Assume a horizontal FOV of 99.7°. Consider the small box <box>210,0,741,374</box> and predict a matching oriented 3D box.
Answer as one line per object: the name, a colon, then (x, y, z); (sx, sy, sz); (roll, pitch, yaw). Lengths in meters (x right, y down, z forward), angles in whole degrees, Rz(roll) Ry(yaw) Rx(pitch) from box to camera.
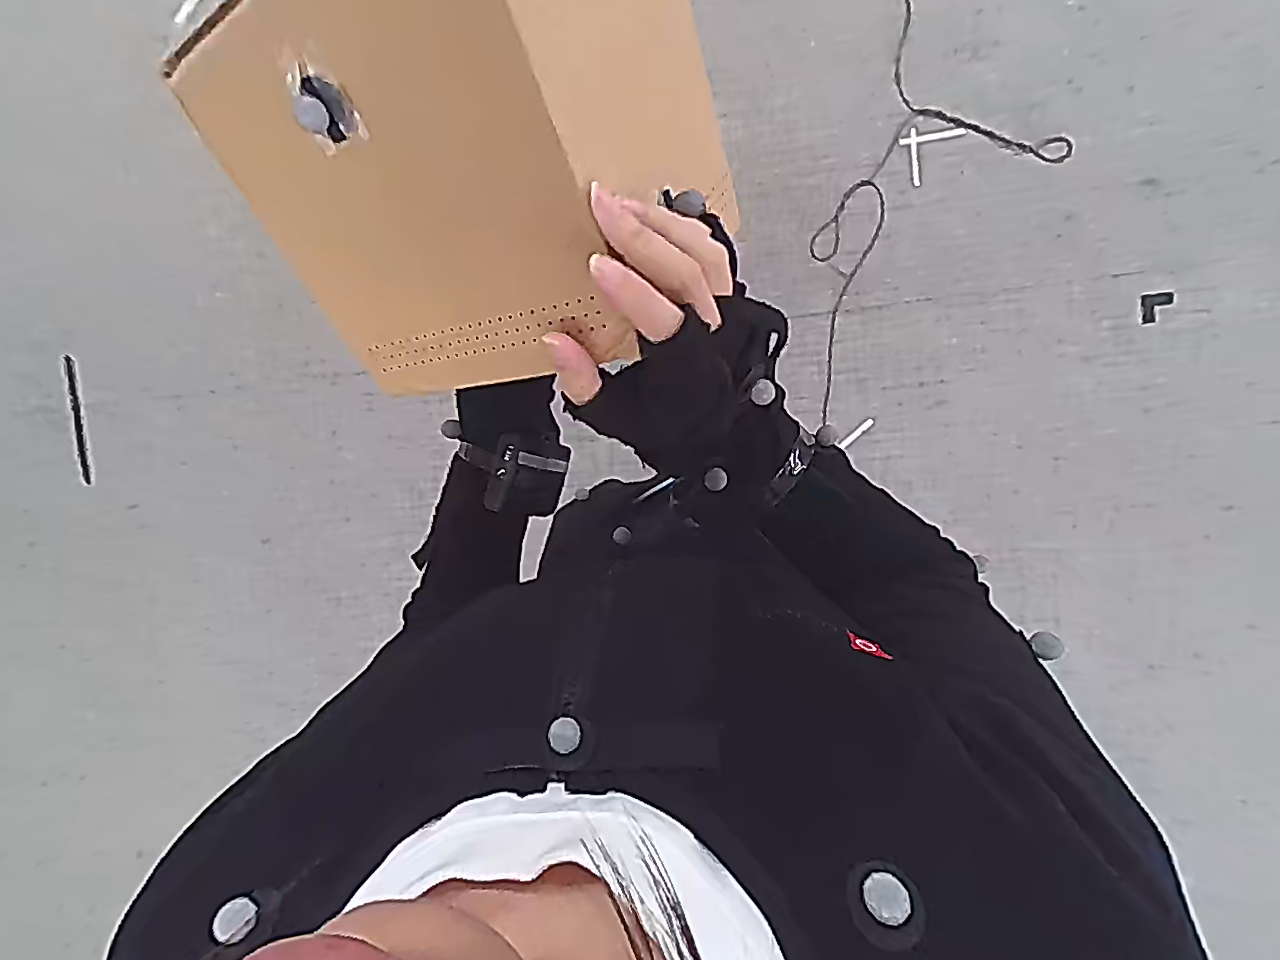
small box: (-0.065, -0.173, 0.297); (0.179, 0.168, 0.176); (-1, 132, 31)
